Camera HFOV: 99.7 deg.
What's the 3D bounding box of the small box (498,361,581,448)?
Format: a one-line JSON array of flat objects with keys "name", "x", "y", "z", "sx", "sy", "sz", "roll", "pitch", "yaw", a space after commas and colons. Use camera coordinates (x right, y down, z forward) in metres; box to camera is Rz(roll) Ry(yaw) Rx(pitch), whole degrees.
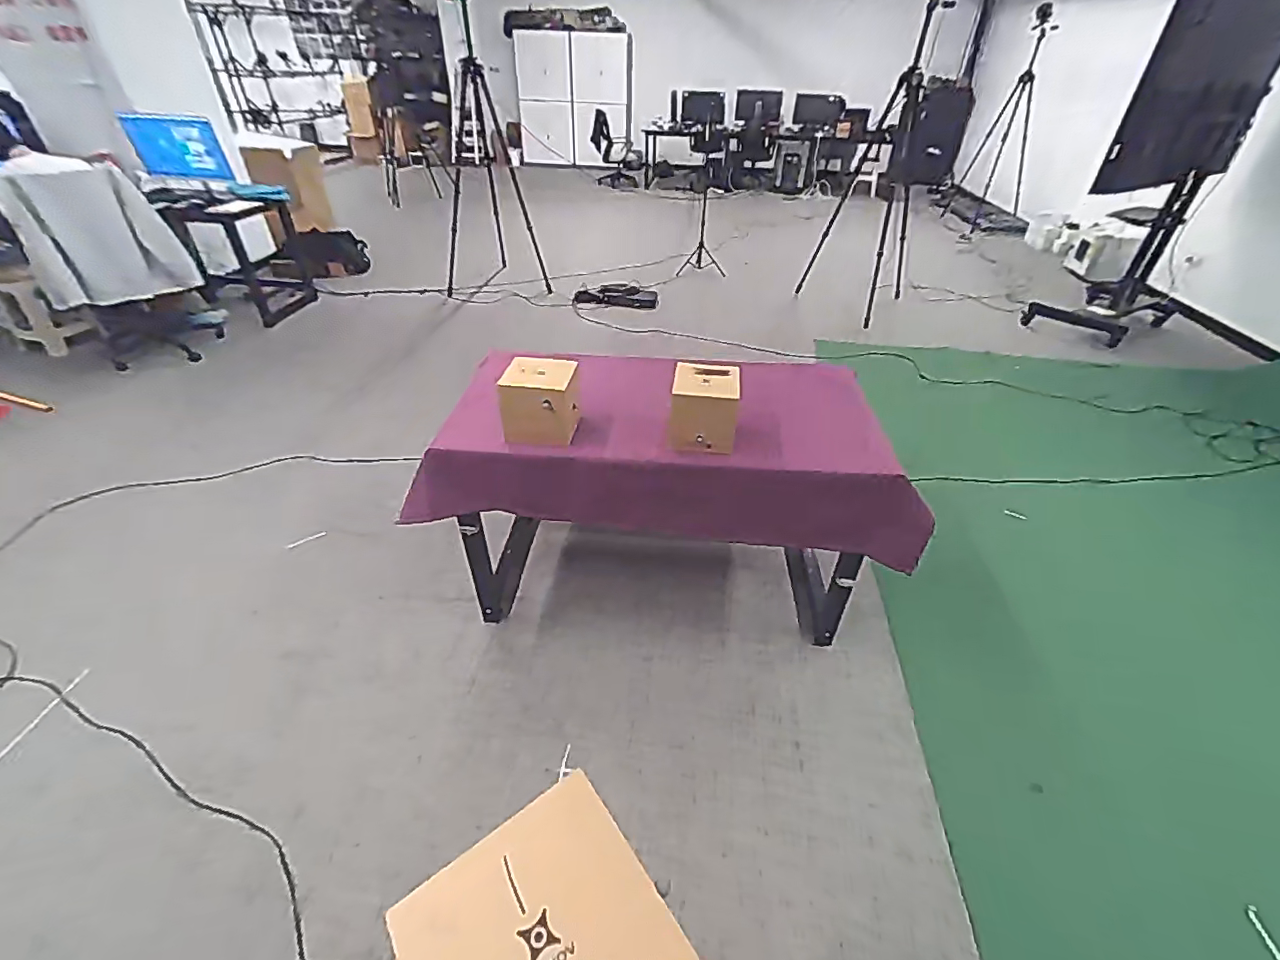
[{"name": "small box", "x": -0.257, "y": -0.199, "z": 1.431, "sx": 0.179, "sy": 0.176, "sz": 0.168, "roll": 5, "pitch": 37, "yaw": 5}]
